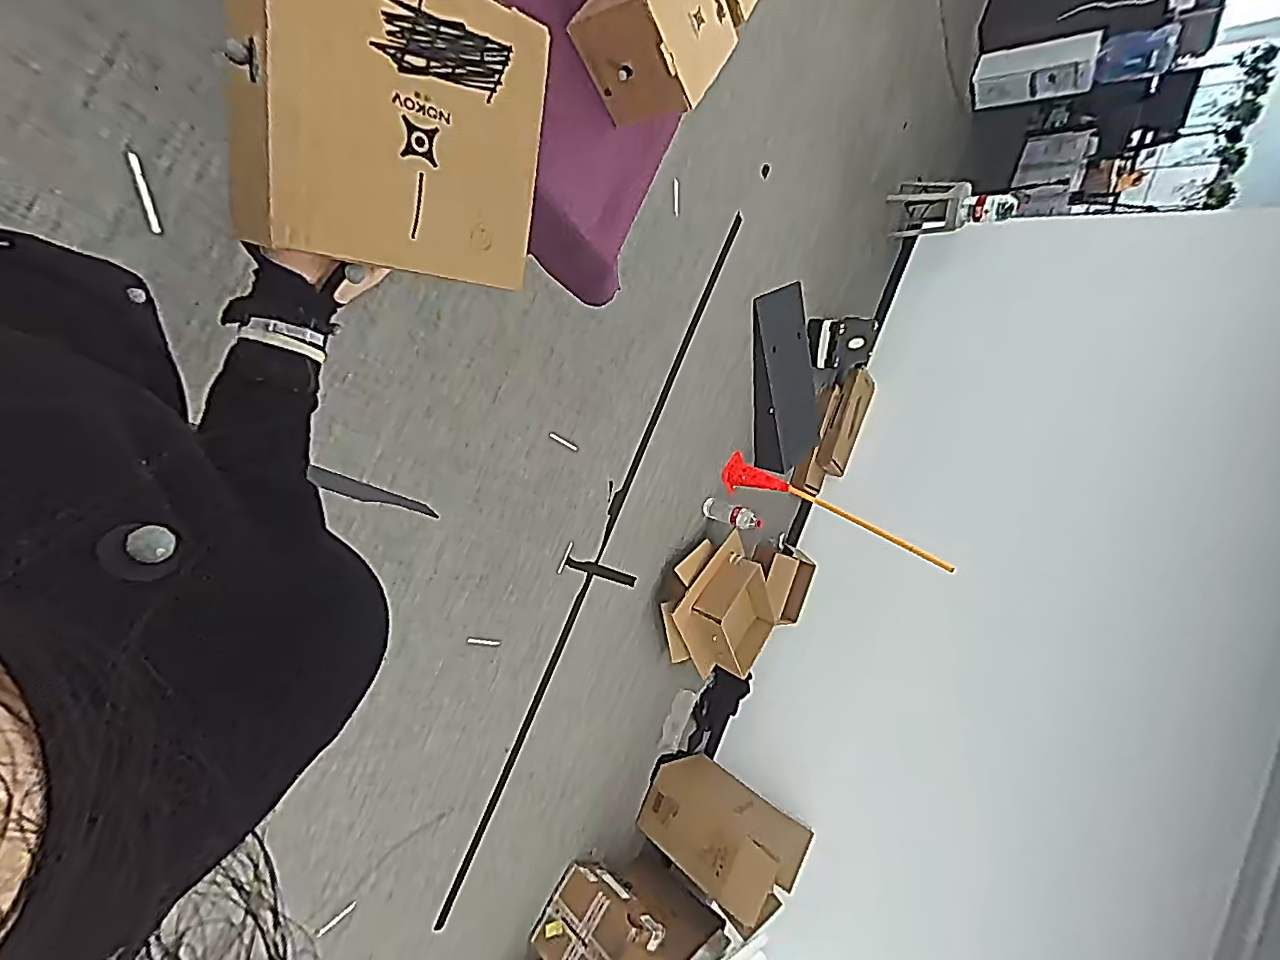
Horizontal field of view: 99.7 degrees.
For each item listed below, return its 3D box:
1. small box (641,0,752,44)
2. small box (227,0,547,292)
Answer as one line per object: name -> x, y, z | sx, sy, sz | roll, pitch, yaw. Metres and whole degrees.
small box -> 0.099, -0.888, 0.903 | 0.168, 0.176, 0.179 | 37, 75, -51
small box -> -0.192, -0.251, 0.402 | 0.168, 0.176, 0.179 | -5, 114, -43
